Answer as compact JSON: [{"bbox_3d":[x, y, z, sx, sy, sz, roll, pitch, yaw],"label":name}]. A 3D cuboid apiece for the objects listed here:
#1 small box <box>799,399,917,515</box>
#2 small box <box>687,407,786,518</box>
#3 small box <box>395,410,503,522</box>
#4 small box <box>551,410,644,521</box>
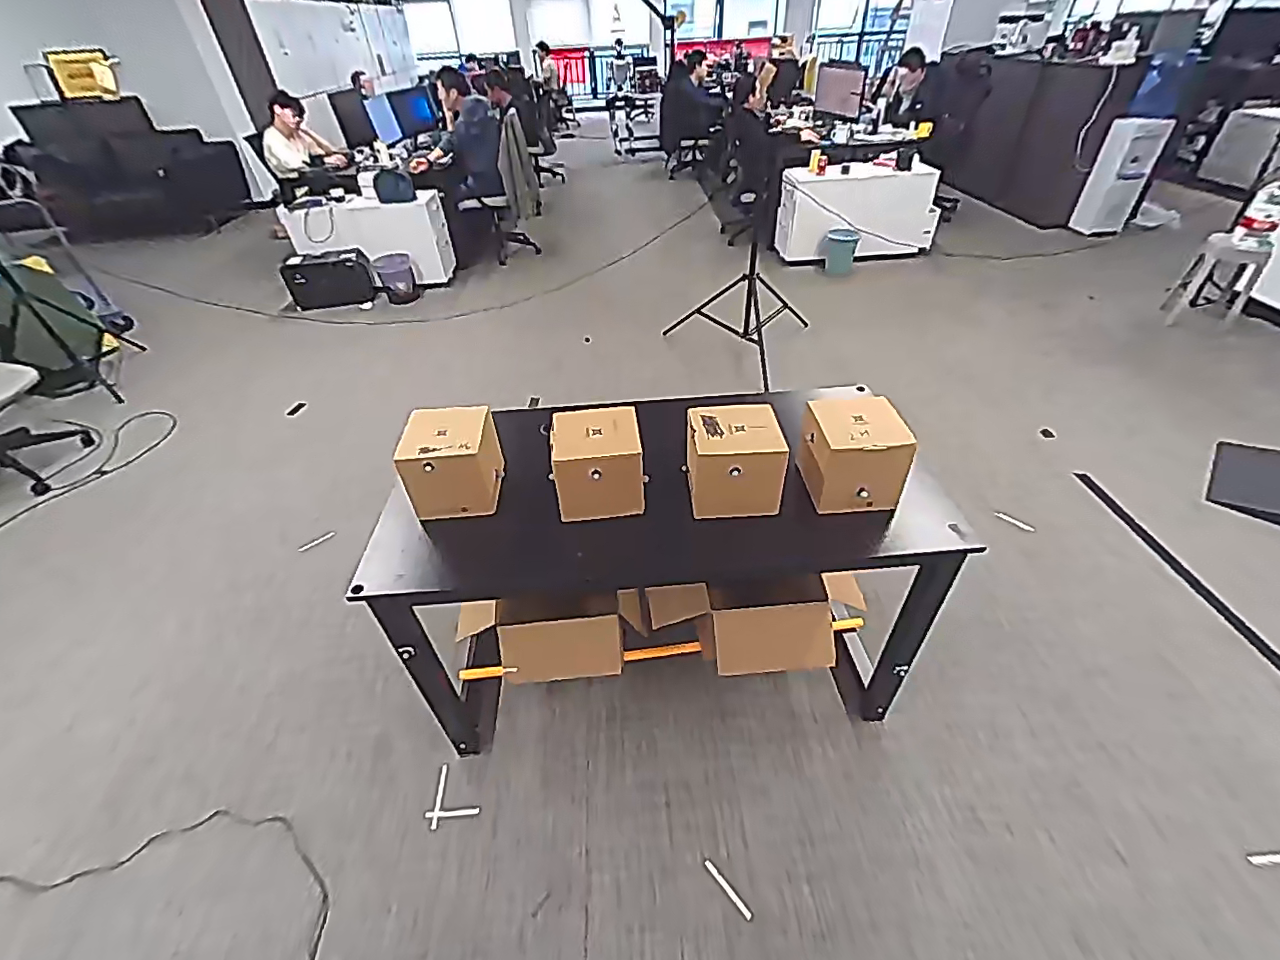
[{"bbox_3d":[0.437,-0.049,1.121,0.168,0.176,0.179,-4,40,1],"label":"small box"},{"bbox_3d":[0.192,-0.033,1.121,0.179,0.176,0.168,-3,40,1],"label":"small box"},{"bbox_3d":[-0.397,-0.032,1.160,0.168,0.176,0.179,-5,40,-2],"label":"small box"},{"bbox_3d":[-0.087,-0.028,1.138,0.179,0.176,0.168,-5,41,-4],"label":"small box"}]
